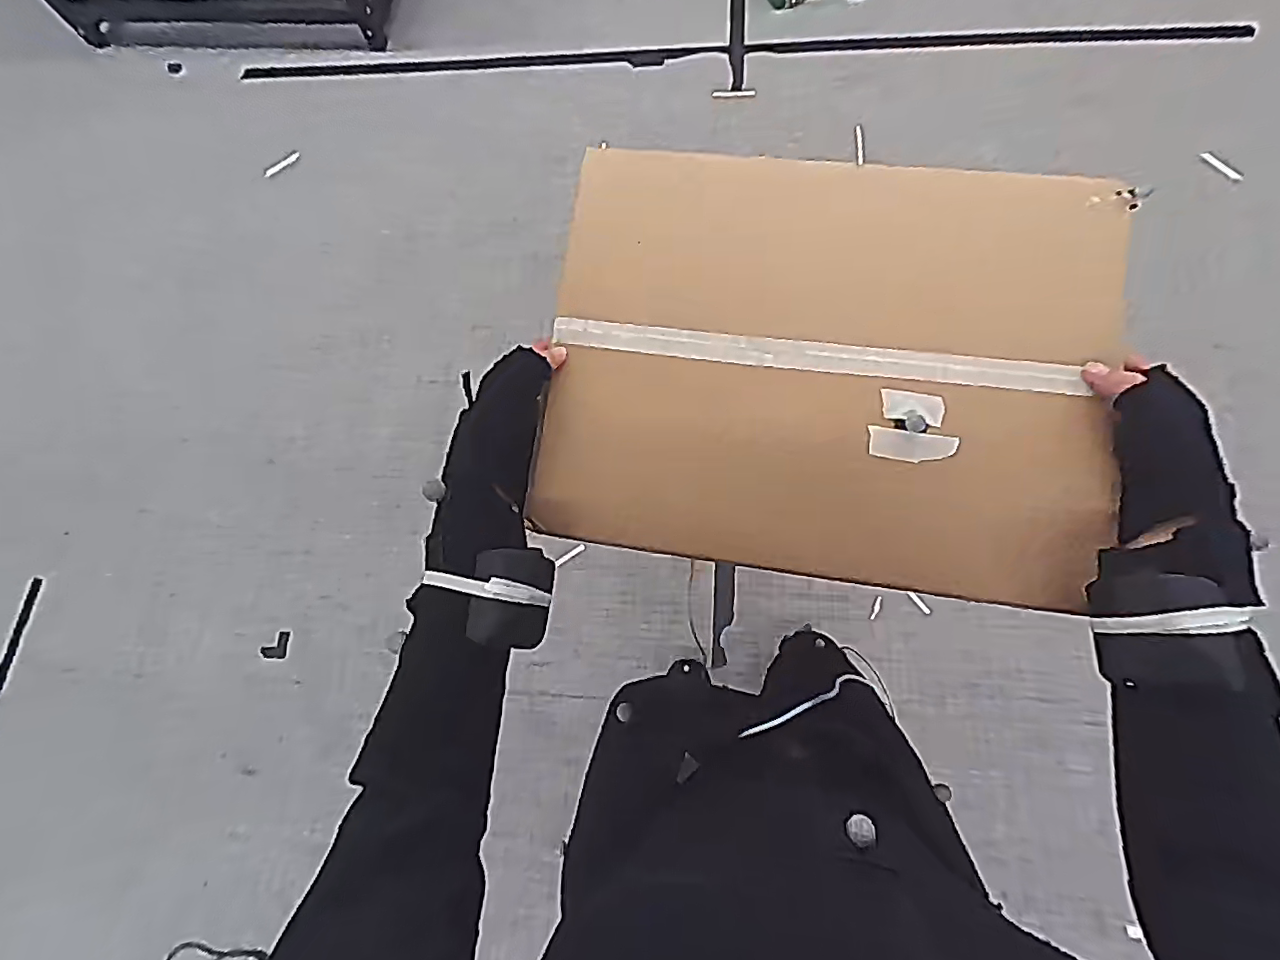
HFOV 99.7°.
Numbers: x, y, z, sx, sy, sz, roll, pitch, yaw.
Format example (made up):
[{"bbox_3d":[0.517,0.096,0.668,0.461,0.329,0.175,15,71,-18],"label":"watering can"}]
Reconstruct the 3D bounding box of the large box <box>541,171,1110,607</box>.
[{"bbox_3d":[0.148,-0.065,0.556,0.408,0.320,0.320,7,85,6],"label":"large box"}]
